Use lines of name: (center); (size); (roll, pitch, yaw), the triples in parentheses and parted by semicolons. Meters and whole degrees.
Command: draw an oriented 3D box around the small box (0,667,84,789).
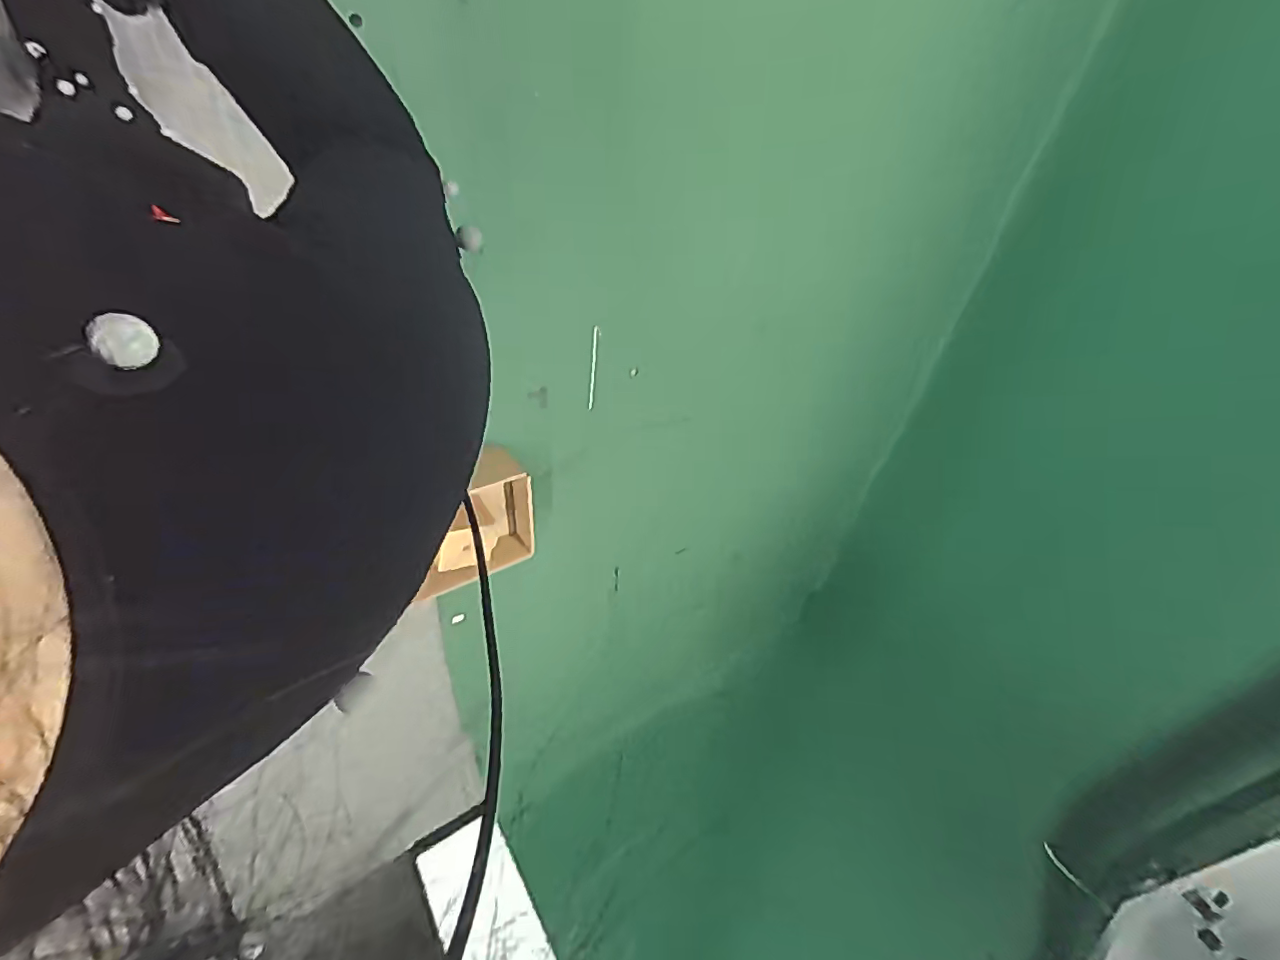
small box: (-1.395, 0.553, 1.208); (0.179, 0.176, 0.168); (-17, 135, -30)

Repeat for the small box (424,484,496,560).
small box: (-0.597, 0.132, 1.776); (0.179, 0.176, 0.168); (-9, 133, -37)
